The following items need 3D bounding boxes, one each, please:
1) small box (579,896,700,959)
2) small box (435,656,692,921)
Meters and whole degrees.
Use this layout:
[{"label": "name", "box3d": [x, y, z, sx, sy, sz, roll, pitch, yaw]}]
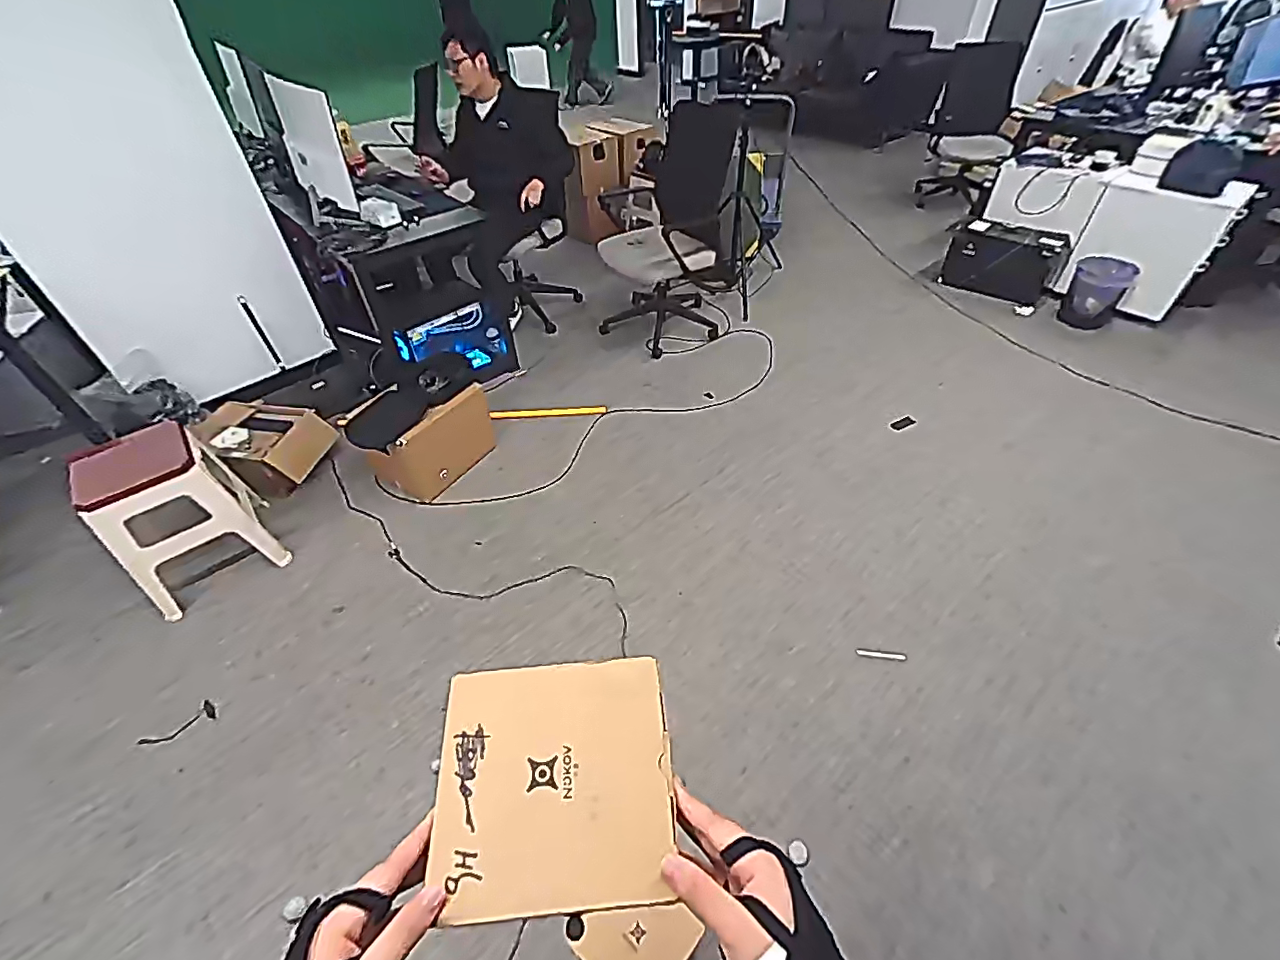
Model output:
[{"label": "small box", "box3d": [0.000, 0.941, 1.085, 0.179, 0.176, 0.168, -36, 54, -28]}, {"label": "small box", "box3d": [-0.058, 0.270, 0.474, 0.179, 0.176, 0.168, -5, 52, -3]}]
